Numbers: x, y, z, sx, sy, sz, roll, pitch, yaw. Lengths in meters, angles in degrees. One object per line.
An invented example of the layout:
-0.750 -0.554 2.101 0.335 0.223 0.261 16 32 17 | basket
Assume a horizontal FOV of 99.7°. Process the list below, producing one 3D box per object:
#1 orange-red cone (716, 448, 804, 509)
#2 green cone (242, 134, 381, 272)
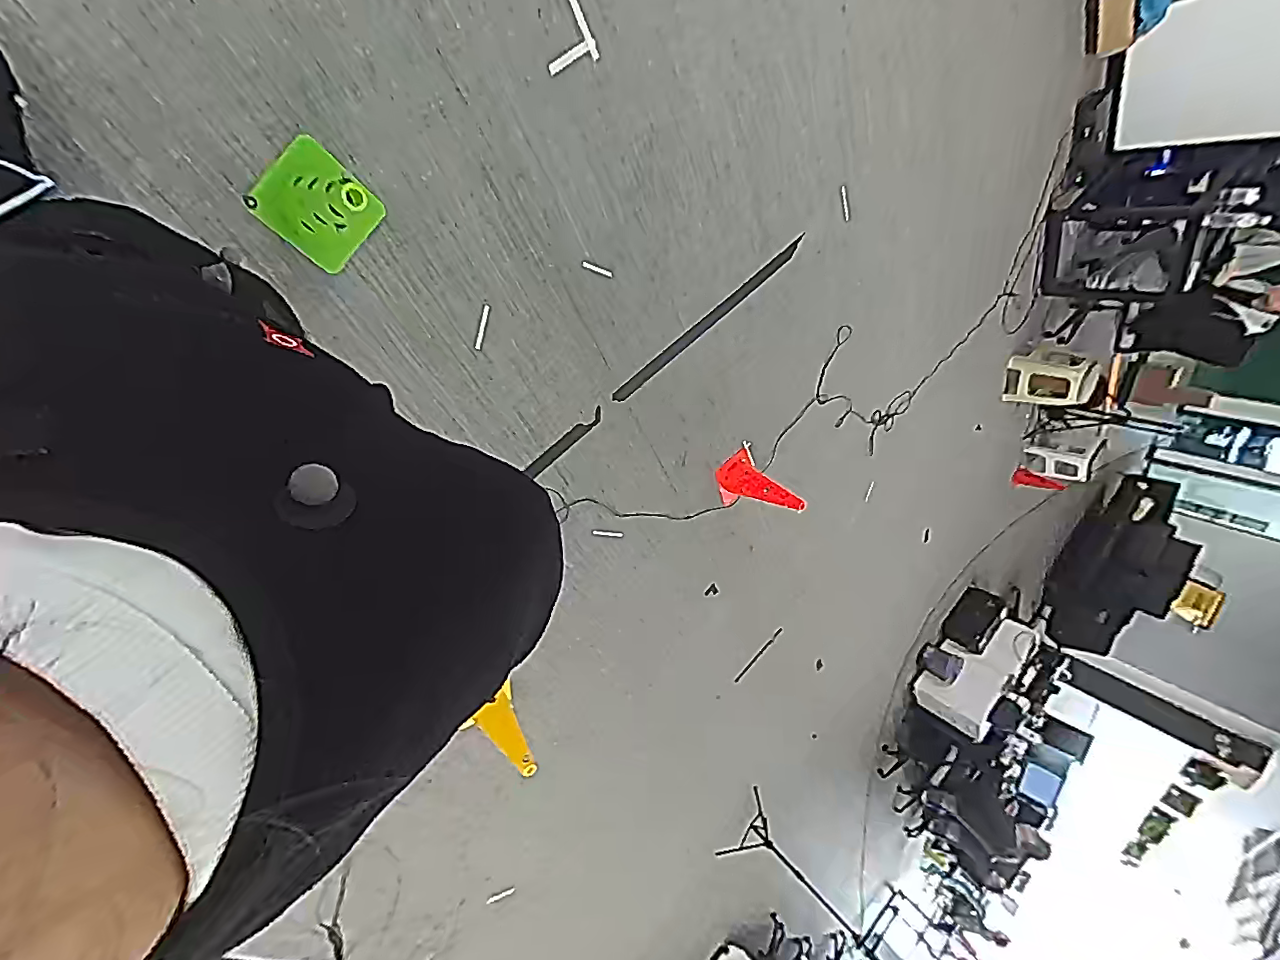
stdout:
0.507 0.040 2.182 0.199 0.360 0.198 -37 128 -20 | orange-red cone
-0.575 -0.522 1.014 0.200 0.368 0.202 40 81 -44 | green cone
